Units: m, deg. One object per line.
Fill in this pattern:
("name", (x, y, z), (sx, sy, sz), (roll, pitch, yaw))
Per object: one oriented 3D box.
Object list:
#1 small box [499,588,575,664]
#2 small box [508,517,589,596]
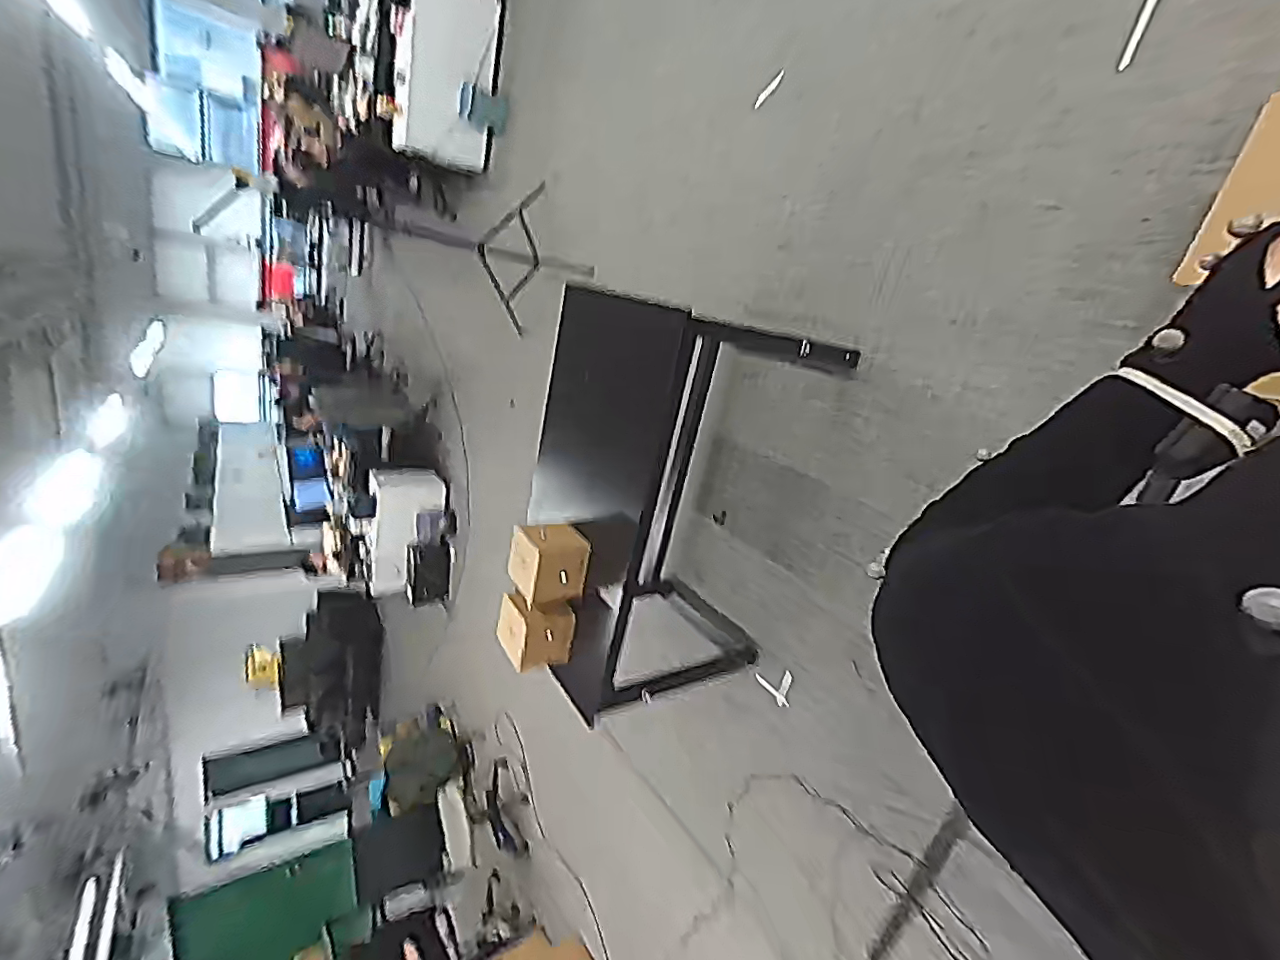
("small box", (-0.321, 0.438, 1.681), (0.179, 0.176, 0.168), (35, 117, 49))
("small box", (-0.269, 0.218, 1.602), (0.179, 0.176, 0.168), (36, 118, 48))
